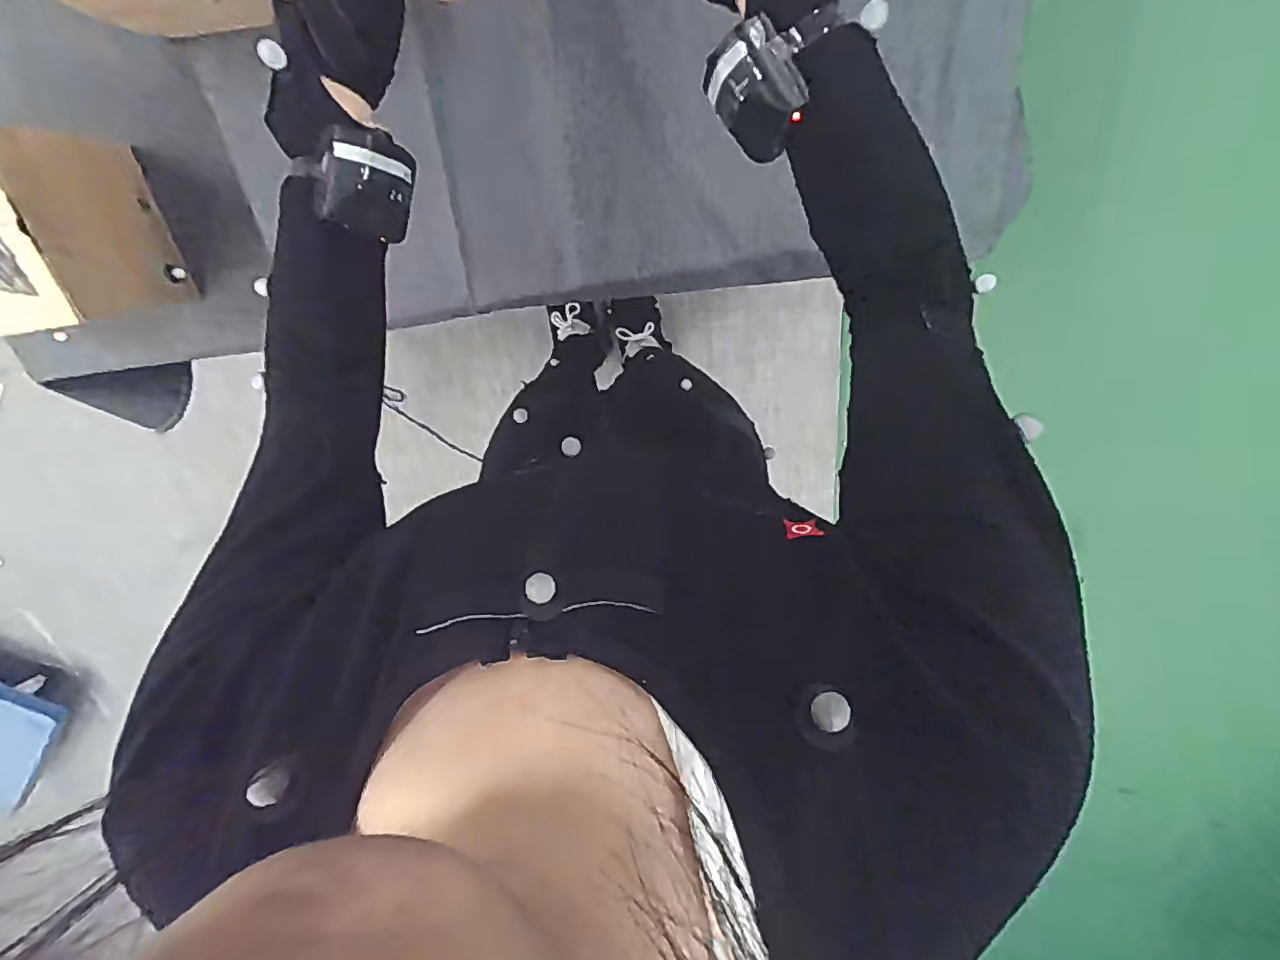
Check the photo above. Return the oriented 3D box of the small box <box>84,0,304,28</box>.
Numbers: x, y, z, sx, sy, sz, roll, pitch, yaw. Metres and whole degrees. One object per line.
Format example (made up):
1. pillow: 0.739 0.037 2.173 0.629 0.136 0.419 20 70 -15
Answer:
1. small box: -0.398 -0.490 0.427 0.179 0.176 0.168 -7 117 0

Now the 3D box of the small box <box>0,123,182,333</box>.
1. small box: -0.613 -0.243 0.535 0.179 0.176 0.168 -9 116 1
